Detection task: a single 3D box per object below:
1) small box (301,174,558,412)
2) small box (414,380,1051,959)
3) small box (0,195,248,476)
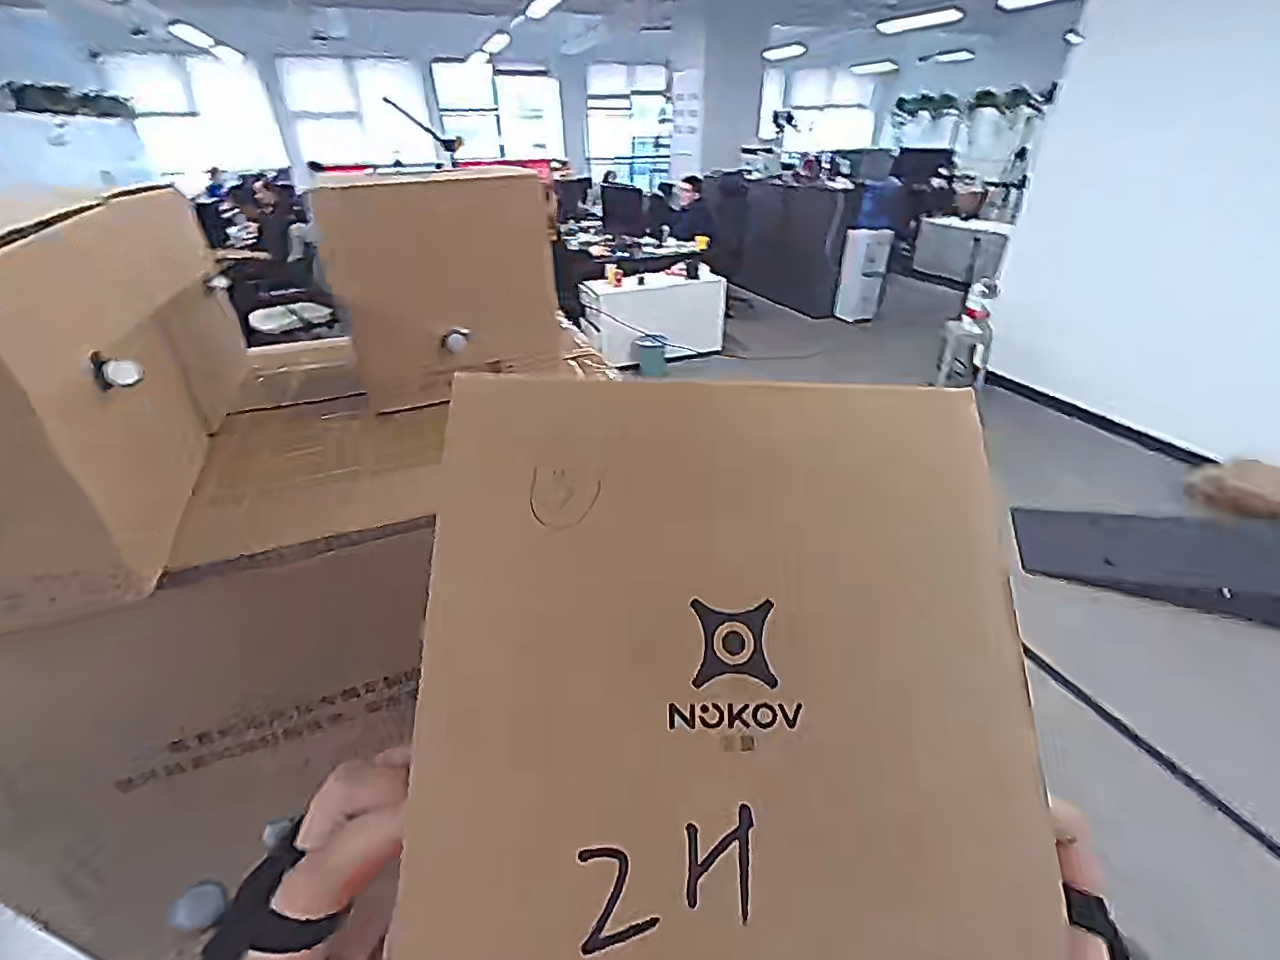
[{"bbox_3d":[-0.184,-0.180,0.499,0.168,0.176,0.179,-16,35,-18],"label":"small box"},{"bbox_3d":[0.023,0.075,0.234,0.168,0.176,0.179,2,75,-2],"label":"small box"},{"bbox_3d":[-0.441,-0.121,0.424,0.168,0.176,0.179,-14,34,-19],"label":"small box"}]
